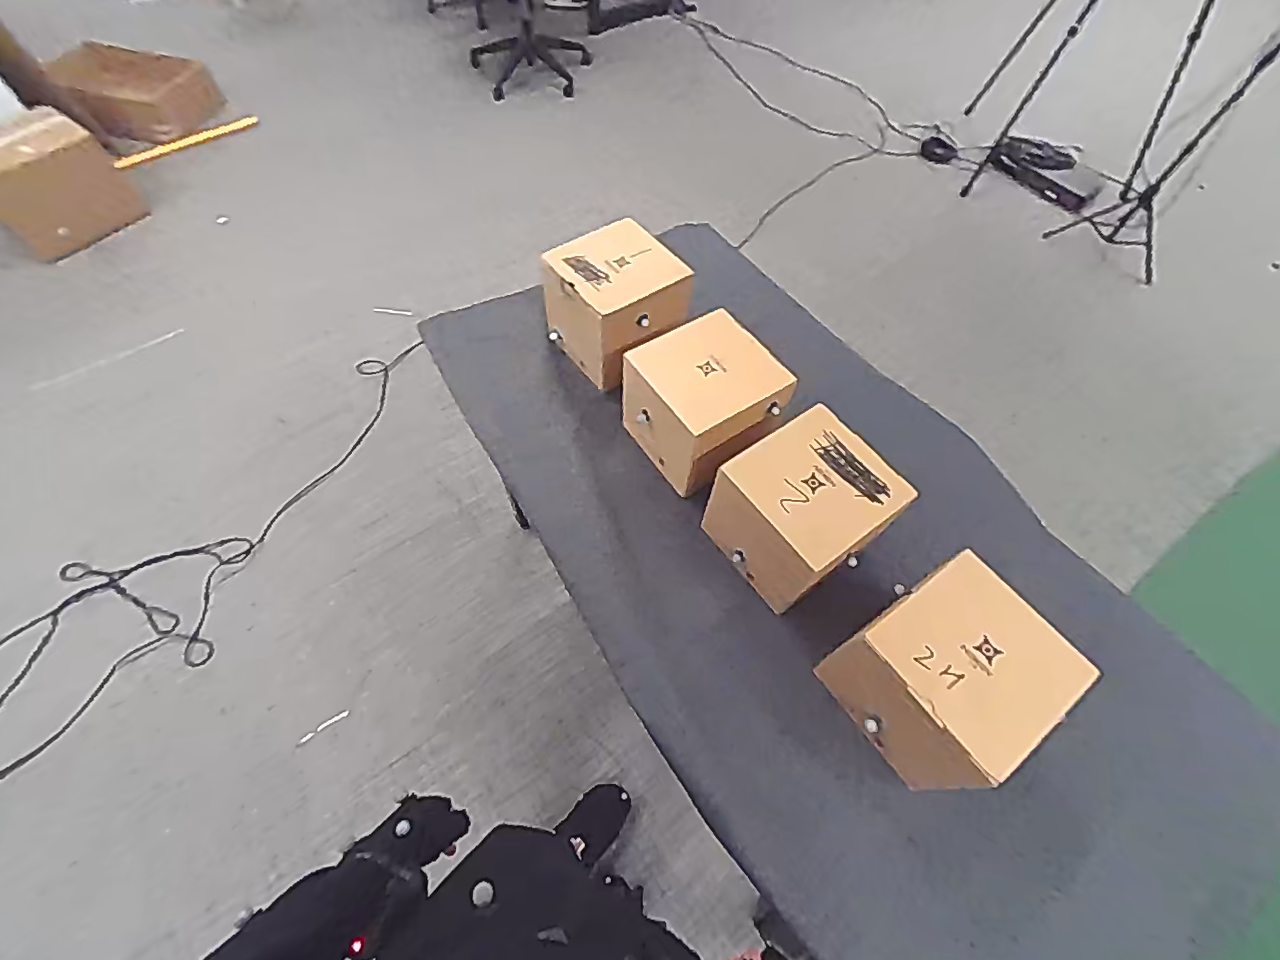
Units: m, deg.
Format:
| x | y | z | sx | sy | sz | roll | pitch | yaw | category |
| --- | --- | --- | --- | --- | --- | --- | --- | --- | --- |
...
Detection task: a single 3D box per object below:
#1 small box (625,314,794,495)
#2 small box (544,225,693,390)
| x | y | z | sx | sy | sz | roll | pitch | yaw | category |
| --- | --- | --- | --- | --- | --- | --- | --- | --- | --- |
| 0.092 | -0.106 | 0.801 | 0.179 | 0.176 | 0.168 | -29 | 64 | -19 | small box |
| -0.035 | -0.280 | 0.896 | 0.179 | 0.176 | 0.168 | -32 | 66 | -21 | small box |
